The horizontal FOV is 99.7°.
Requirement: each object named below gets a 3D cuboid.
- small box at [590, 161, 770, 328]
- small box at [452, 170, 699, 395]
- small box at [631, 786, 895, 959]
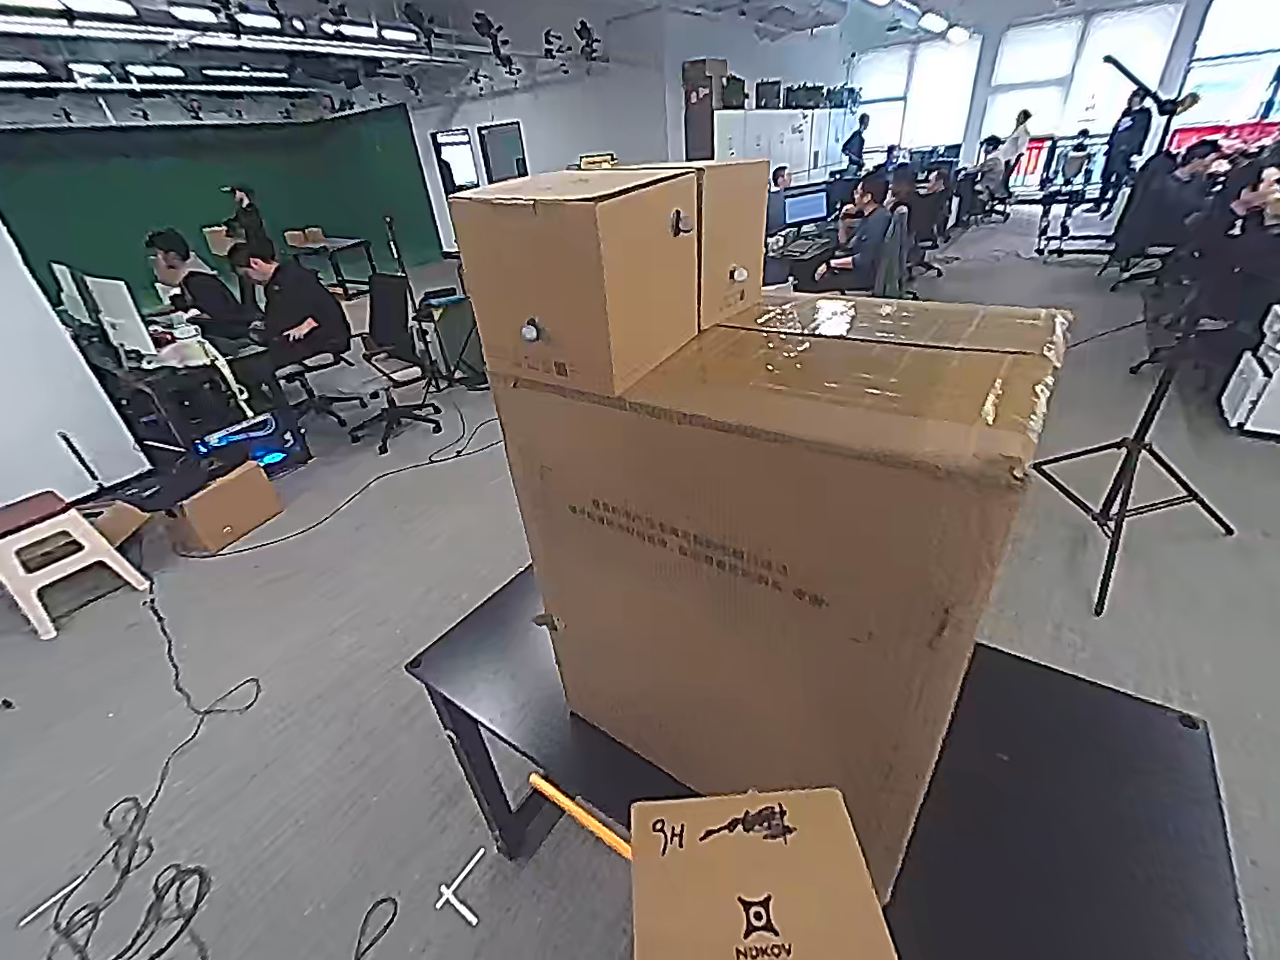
[{"bbox_3d":[0.043,-0.294,0.673,0.179,0.176,0.168,18,37,31],"label":"small box"},{"bbox_3d":[-0.052,-0.206,0.545,0.168,0.176,0.179,16,41,27],"label":"small box"},{"bbox_3d":[0.083,0.359,0.396,0.168,0.176,0.179,-4,35,0],"label":"small box"}]
